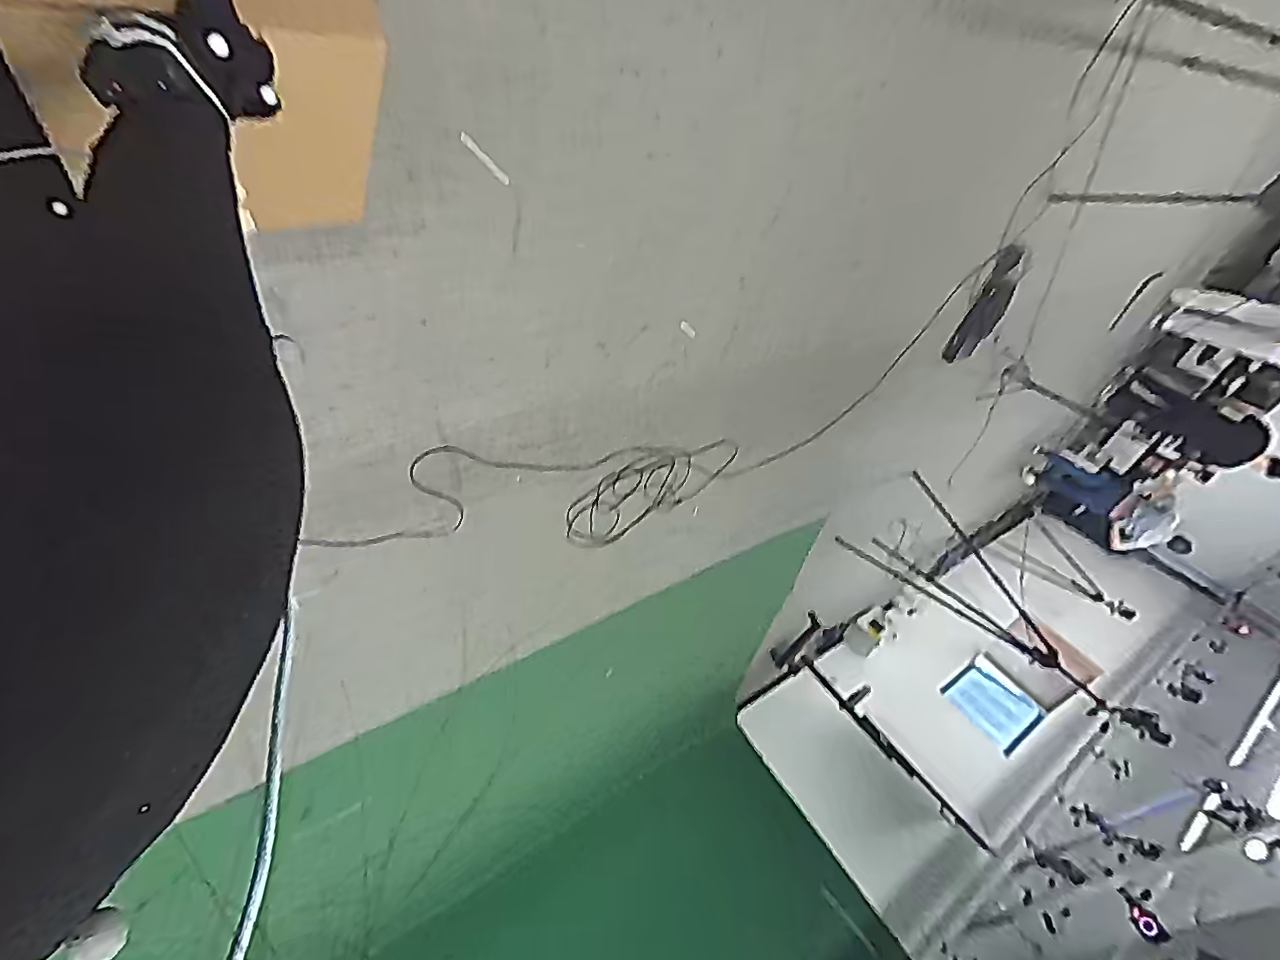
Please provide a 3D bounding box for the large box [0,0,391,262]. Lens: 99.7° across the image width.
[{"bbox_3d":[-0.550,-0.542,0.648,0.320,0.408,0.320,-25,179,-34],"label":"large box"}]
